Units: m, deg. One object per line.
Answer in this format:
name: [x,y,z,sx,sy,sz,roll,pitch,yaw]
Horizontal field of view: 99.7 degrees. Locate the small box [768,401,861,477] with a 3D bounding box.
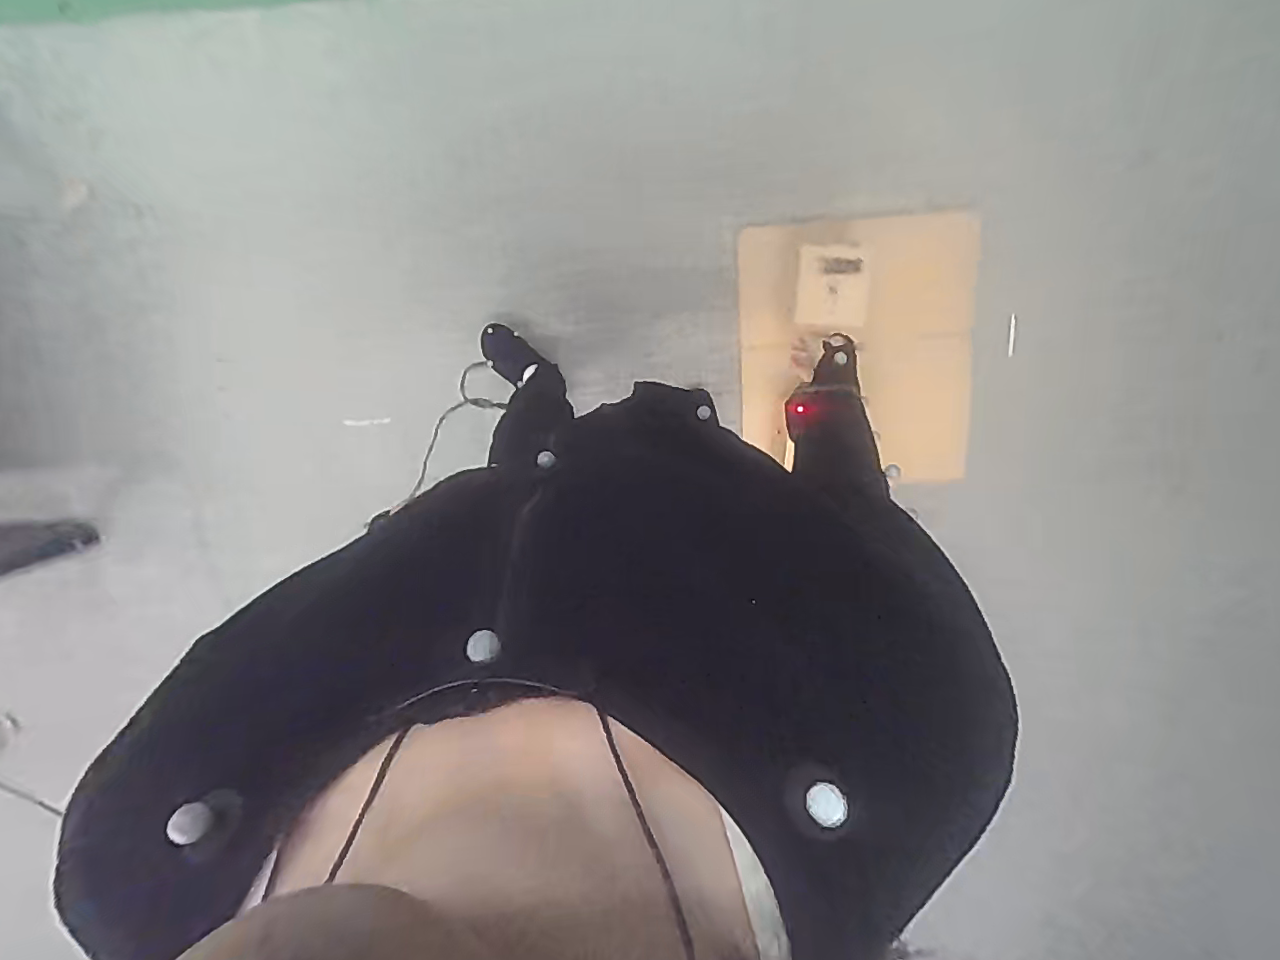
small box: [0.435,-0.110,1.382,0.179,0.176,0.168,4,104,-1]
